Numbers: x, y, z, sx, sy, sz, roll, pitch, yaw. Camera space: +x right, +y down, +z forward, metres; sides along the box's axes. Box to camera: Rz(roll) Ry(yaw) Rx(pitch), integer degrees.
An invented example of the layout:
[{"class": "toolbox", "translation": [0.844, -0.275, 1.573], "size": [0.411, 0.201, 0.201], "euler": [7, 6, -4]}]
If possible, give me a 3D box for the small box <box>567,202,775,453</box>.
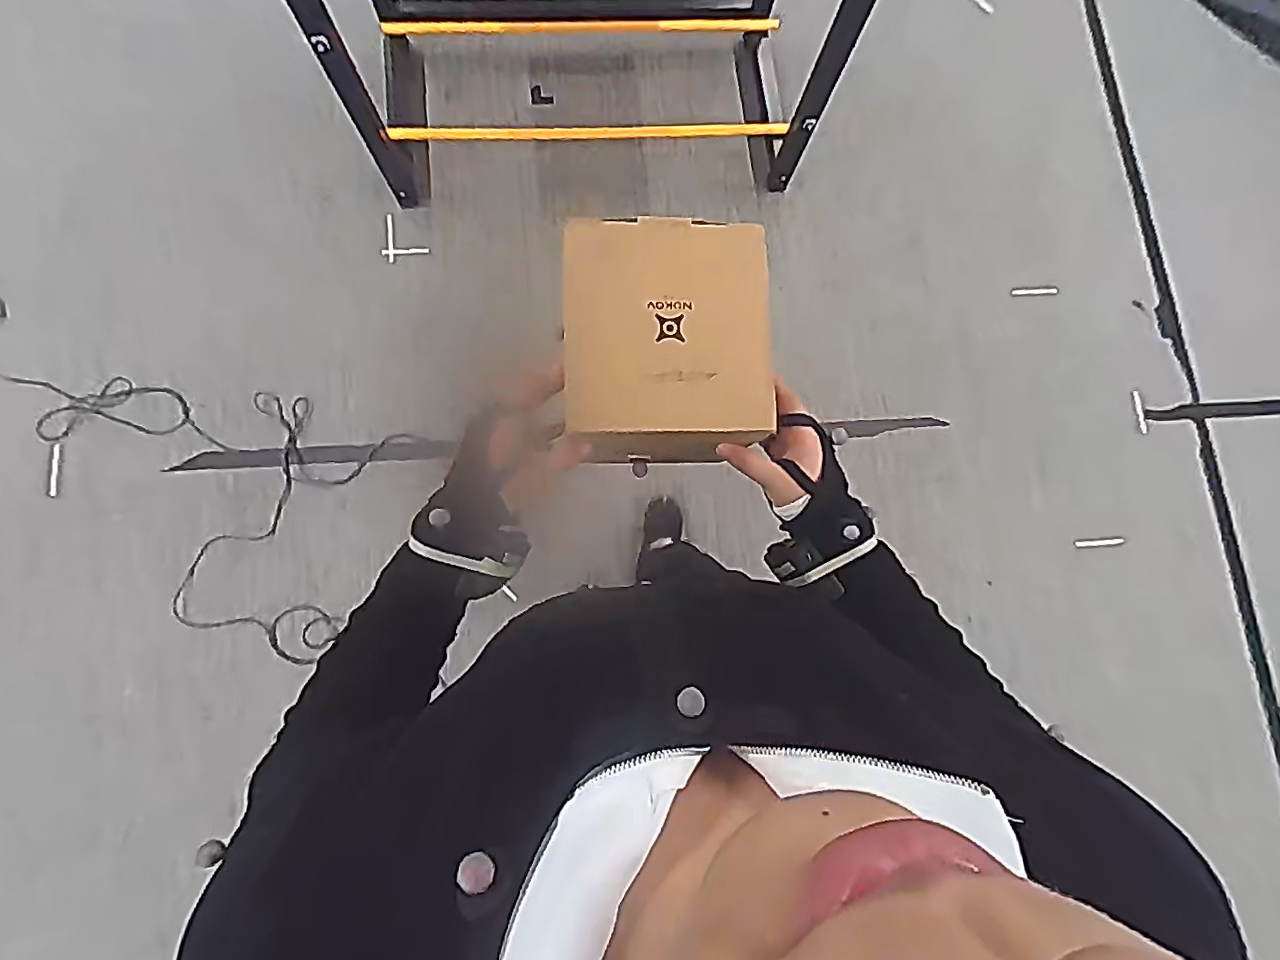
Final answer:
[{"class": "small box", "translation": [0.015, -0.126, 0.508], "size": [0.168, 0.176, 0.179], "euler": [-1, 83, -6]}]
